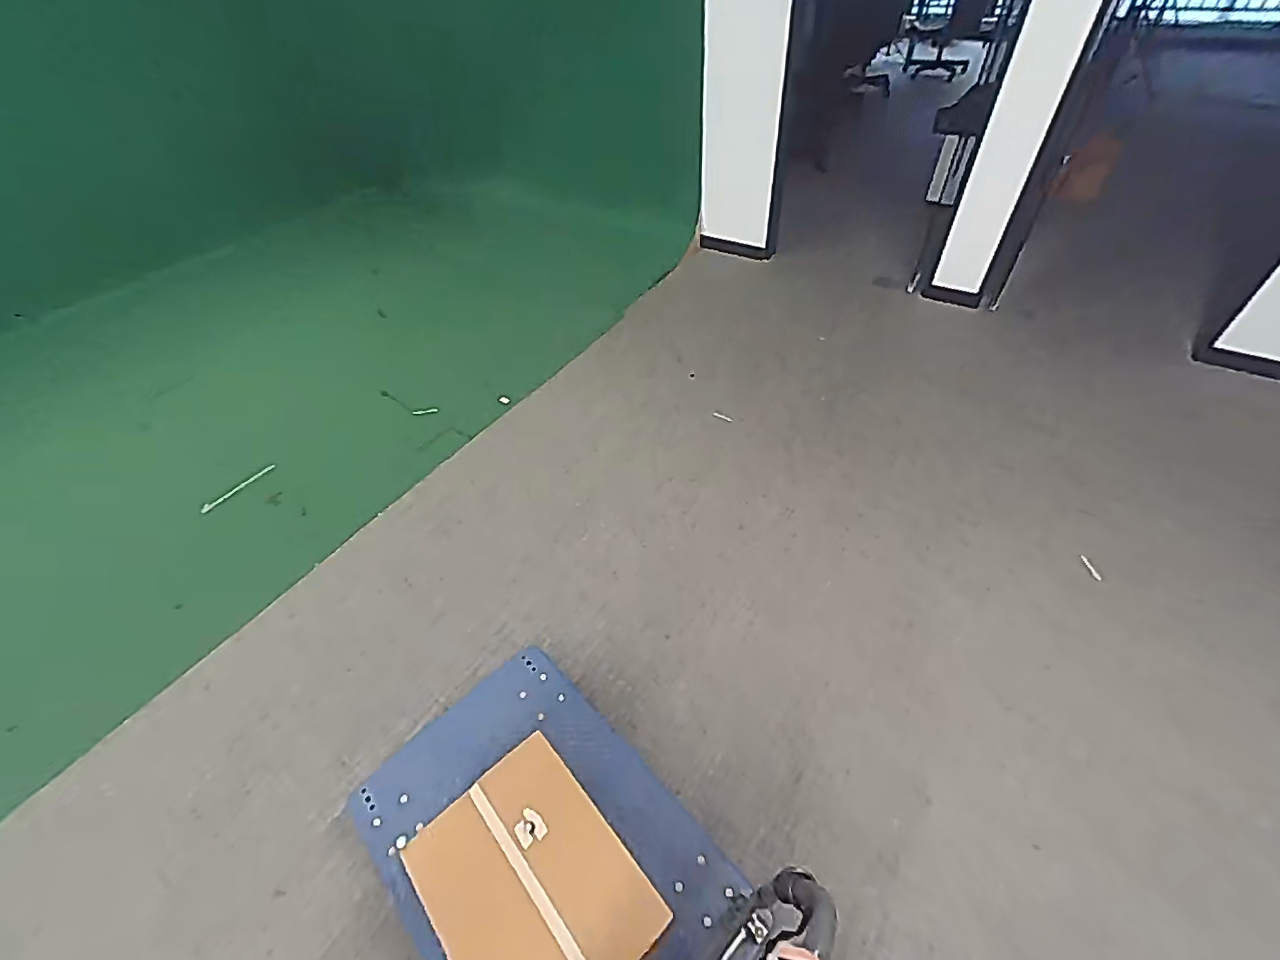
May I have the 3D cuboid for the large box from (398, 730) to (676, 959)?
[{"bbox_3d":[-0.179,0.784,1.036,0.320,0.320,0.408,-35,54,-24],"label":"large box"}]
